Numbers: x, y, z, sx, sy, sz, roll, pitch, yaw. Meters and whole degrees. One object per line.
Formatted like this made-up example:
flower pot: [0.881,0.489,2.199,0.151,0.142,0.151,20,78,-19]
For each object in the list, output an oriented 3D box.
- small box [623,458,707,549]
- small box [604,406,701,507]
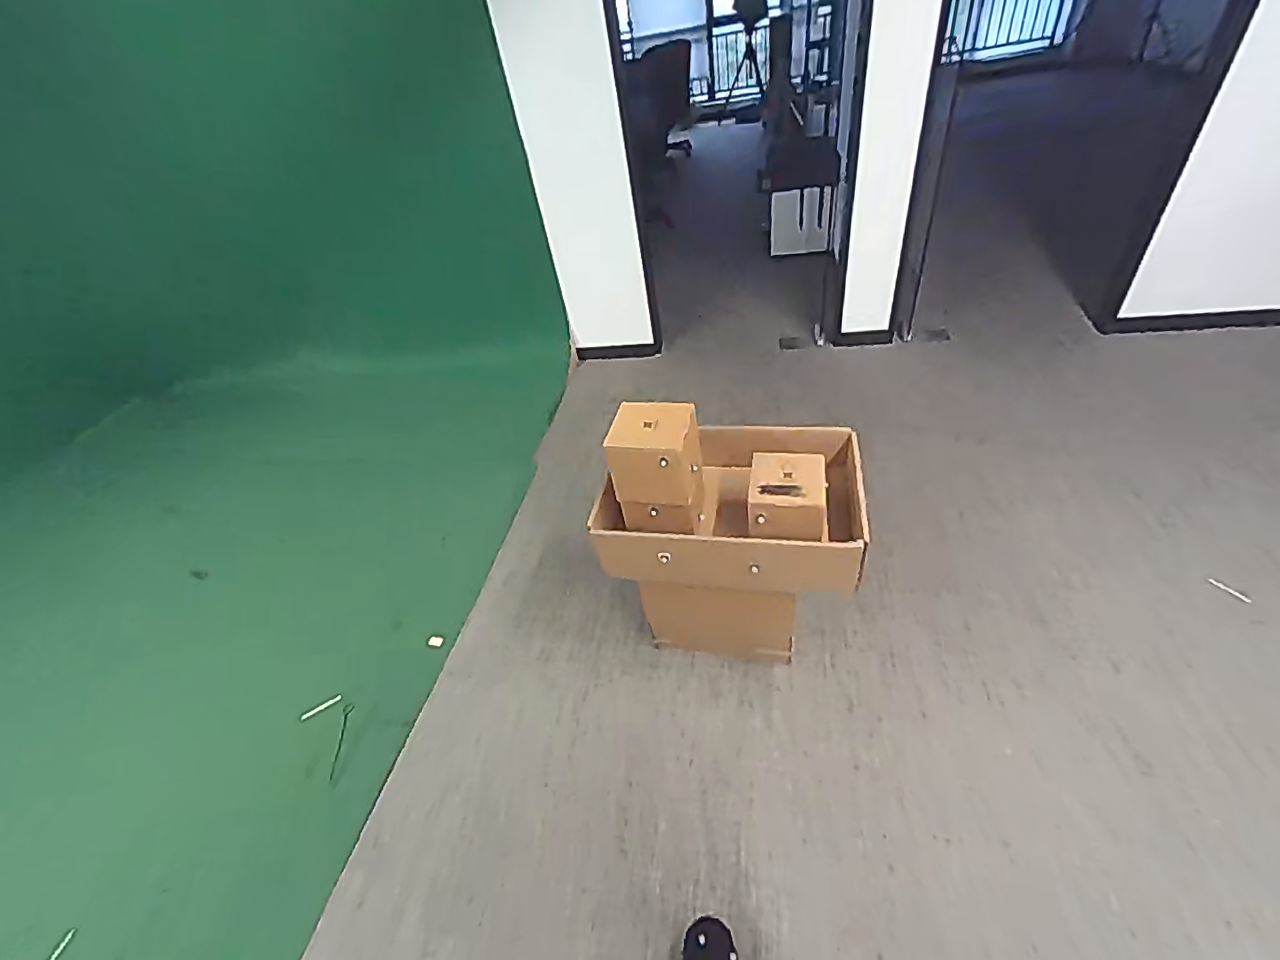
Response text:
small box: [0.066,0.056,1.359,0.179,0.176,0.168,3,44,15]
small box: [0.036,-0.053,1.242,0.179,0.176,0.168,3,44,16]
